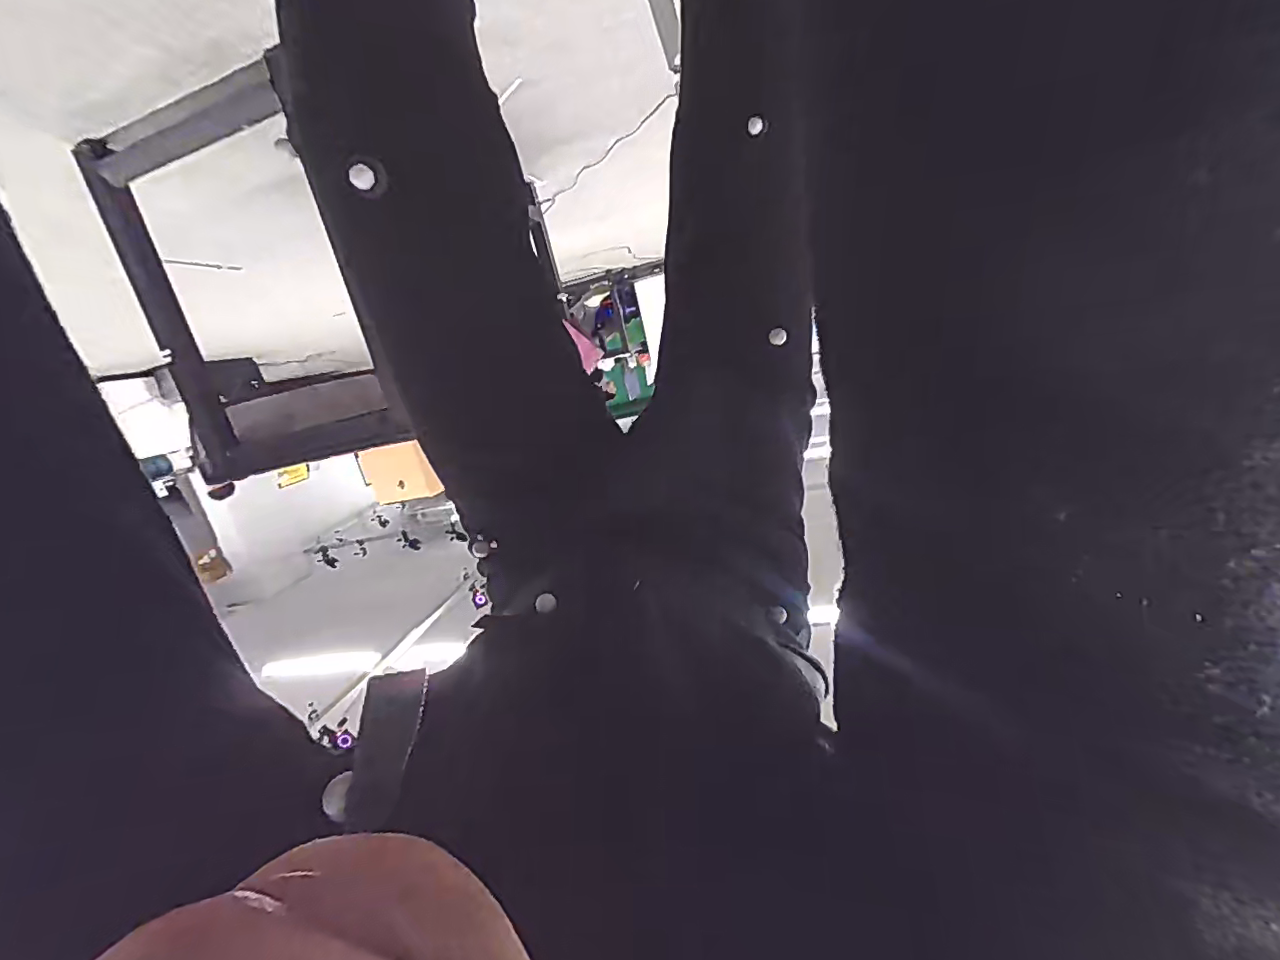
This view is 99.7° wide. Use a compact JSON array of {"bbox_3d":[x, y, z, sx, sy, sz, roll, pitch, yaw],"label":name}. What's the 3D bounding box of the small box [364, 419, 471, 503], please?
[{"bbox_3d":[-0.585,-0.056,1.424,0.179,0.176,0.168,-8,-164,21],"label":"small box"}]
